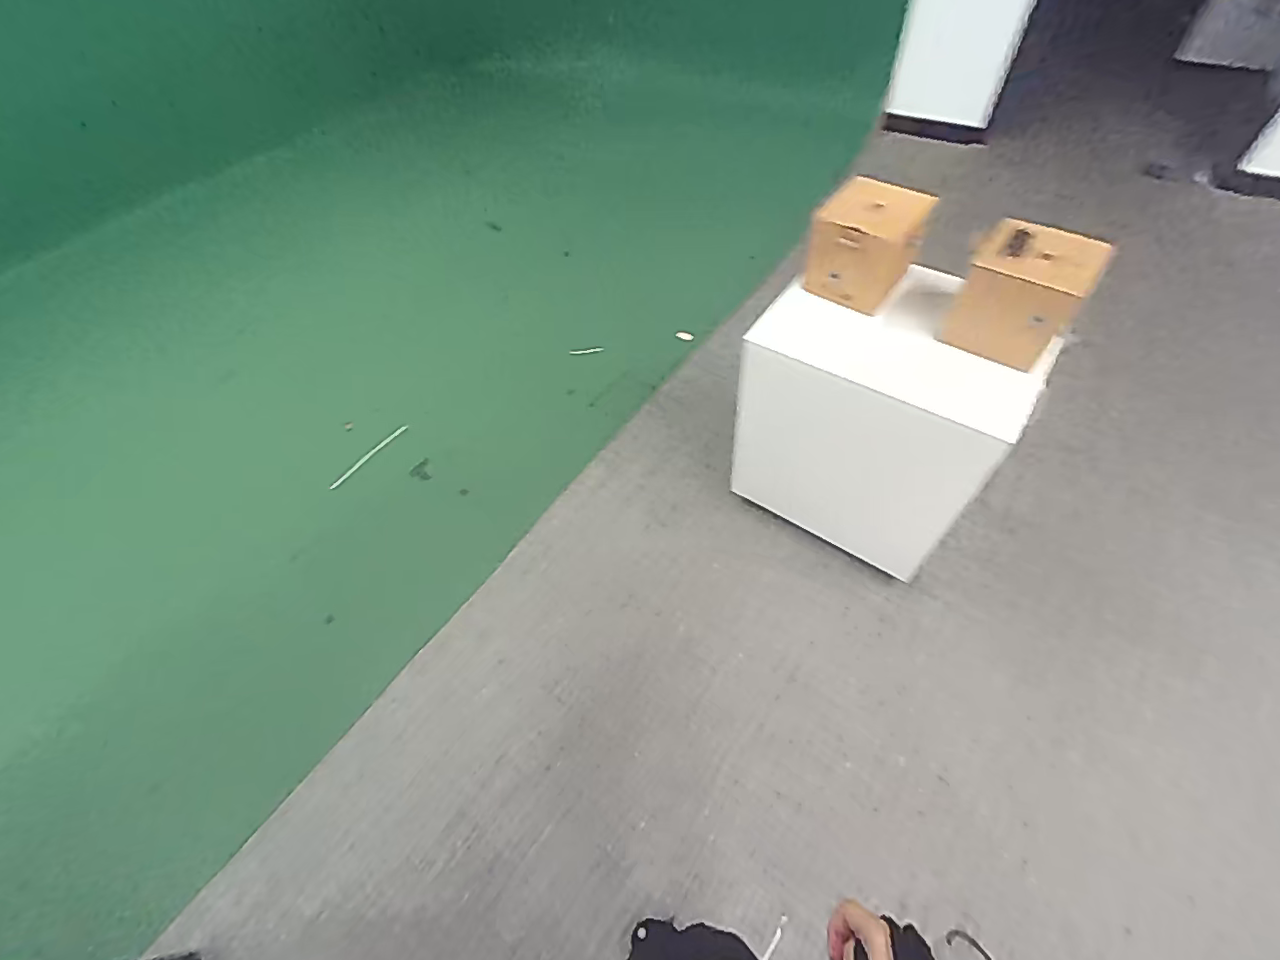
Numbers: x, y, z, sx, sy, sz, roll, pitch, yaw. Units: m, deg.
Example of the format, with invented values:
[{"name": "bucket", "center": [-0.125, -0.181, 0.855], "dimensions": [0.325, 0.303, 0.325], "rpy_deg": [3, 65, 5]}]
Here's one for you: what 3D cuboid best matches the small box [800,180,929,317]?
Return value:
[{"name": "small box", "center": [0.446, -0.469, 1.102], "dimensions": [0.168, 0.176, 0.179], "rpy_deg": [32, 64, 24]}]
